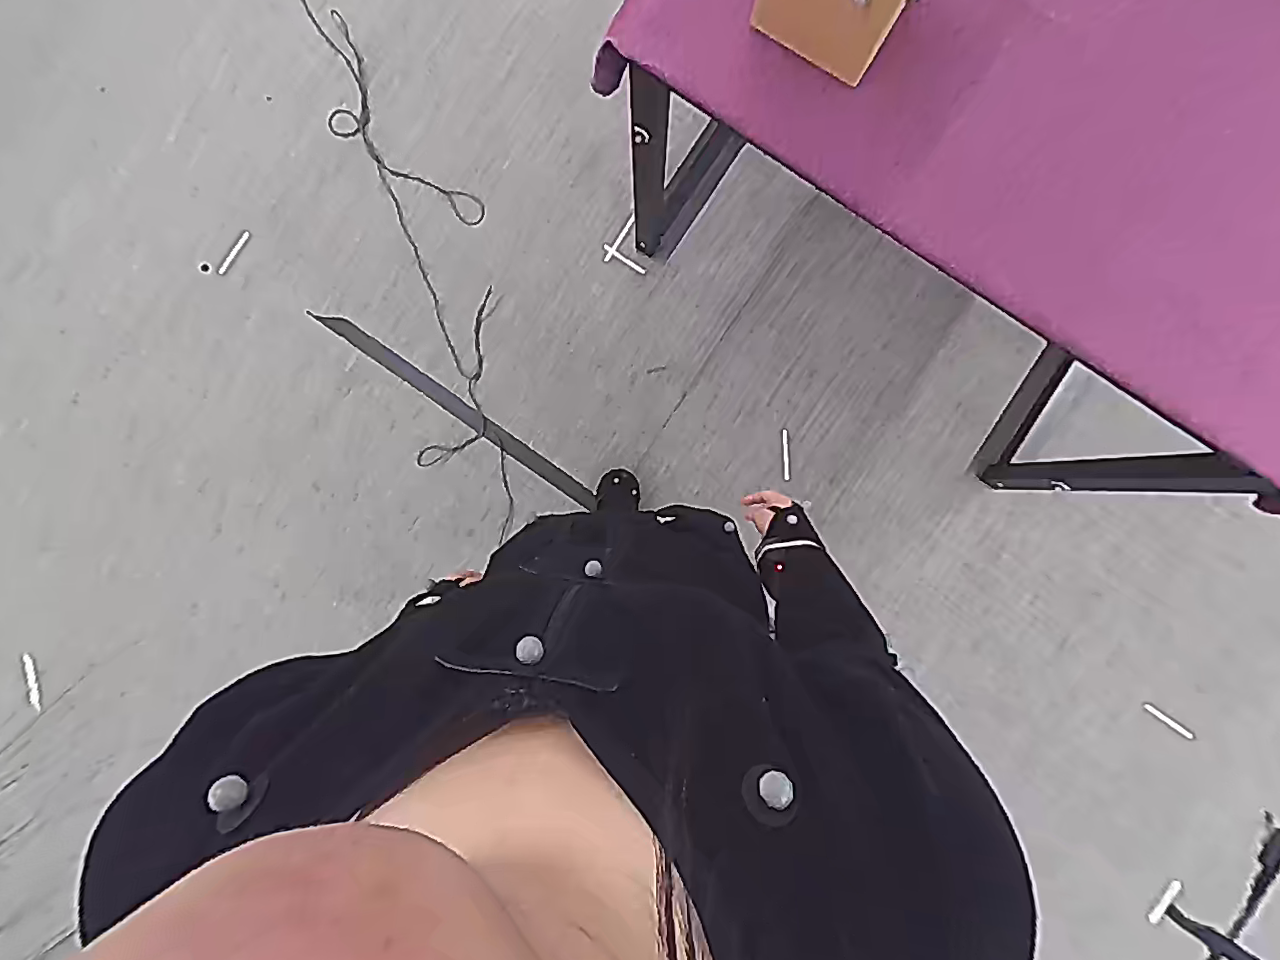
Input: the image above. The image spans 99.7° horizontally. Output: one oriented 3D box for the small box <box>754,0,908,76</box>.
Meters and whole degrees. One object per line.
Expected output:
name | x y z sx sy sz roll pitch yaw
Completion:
small box | 0.270 -0.663 0.678 0.179 0.176 0.168 31 88 0
